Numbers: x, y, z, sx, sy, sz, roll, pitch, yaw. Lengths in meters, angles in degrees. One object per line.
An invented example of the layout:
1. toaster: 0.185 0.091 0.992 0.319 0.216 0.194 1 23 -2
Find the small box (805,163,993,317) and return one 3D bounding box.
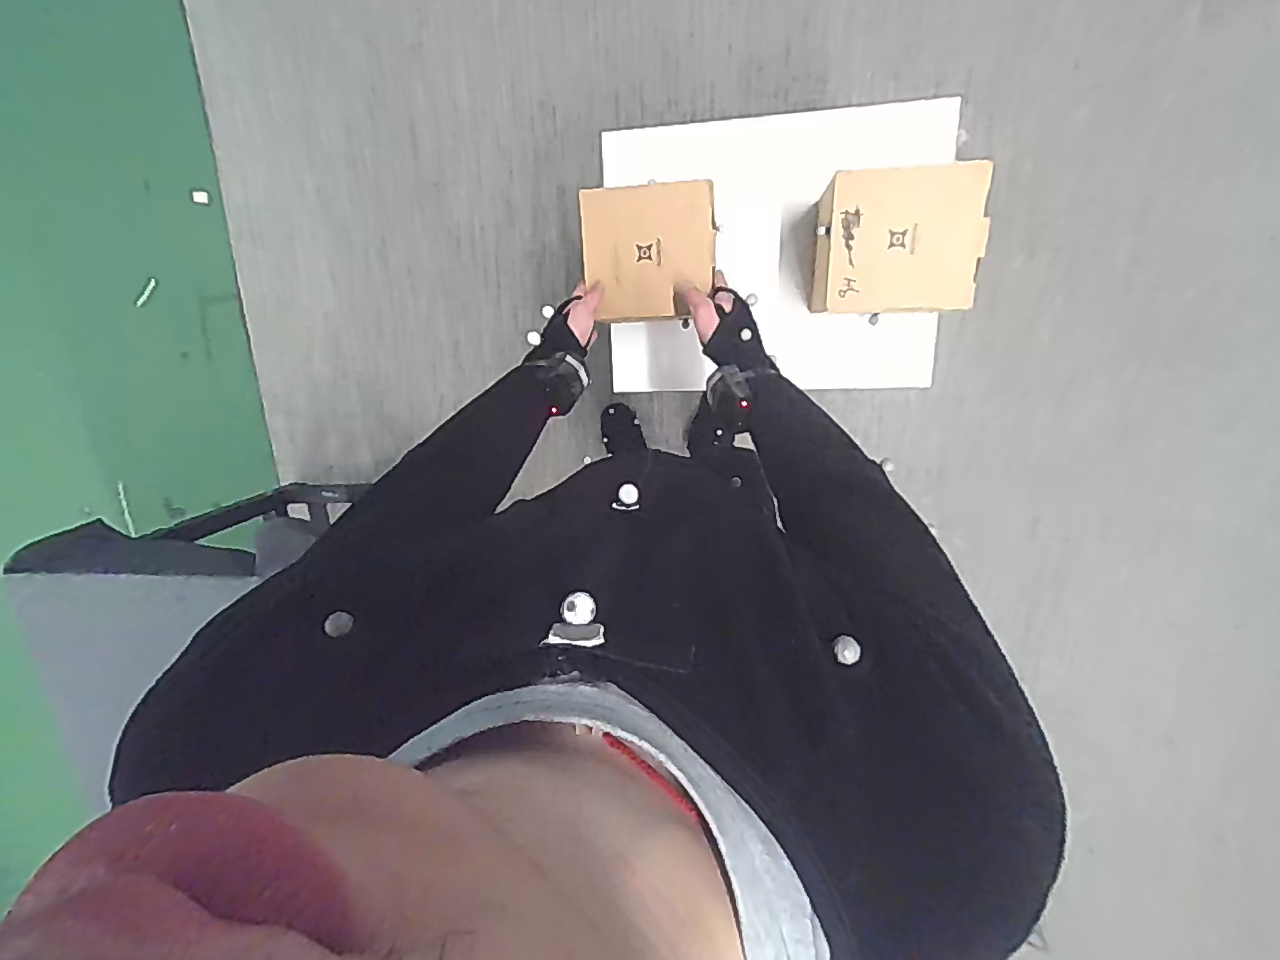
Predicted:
1. small box: 0.331 -0.311 0.728 0.179 0.176 0.168 1 105 7

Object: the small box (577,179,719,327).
1. small box: 0.018 -0.309 0.768 0.179 0.176 0.168 -2 103 7
